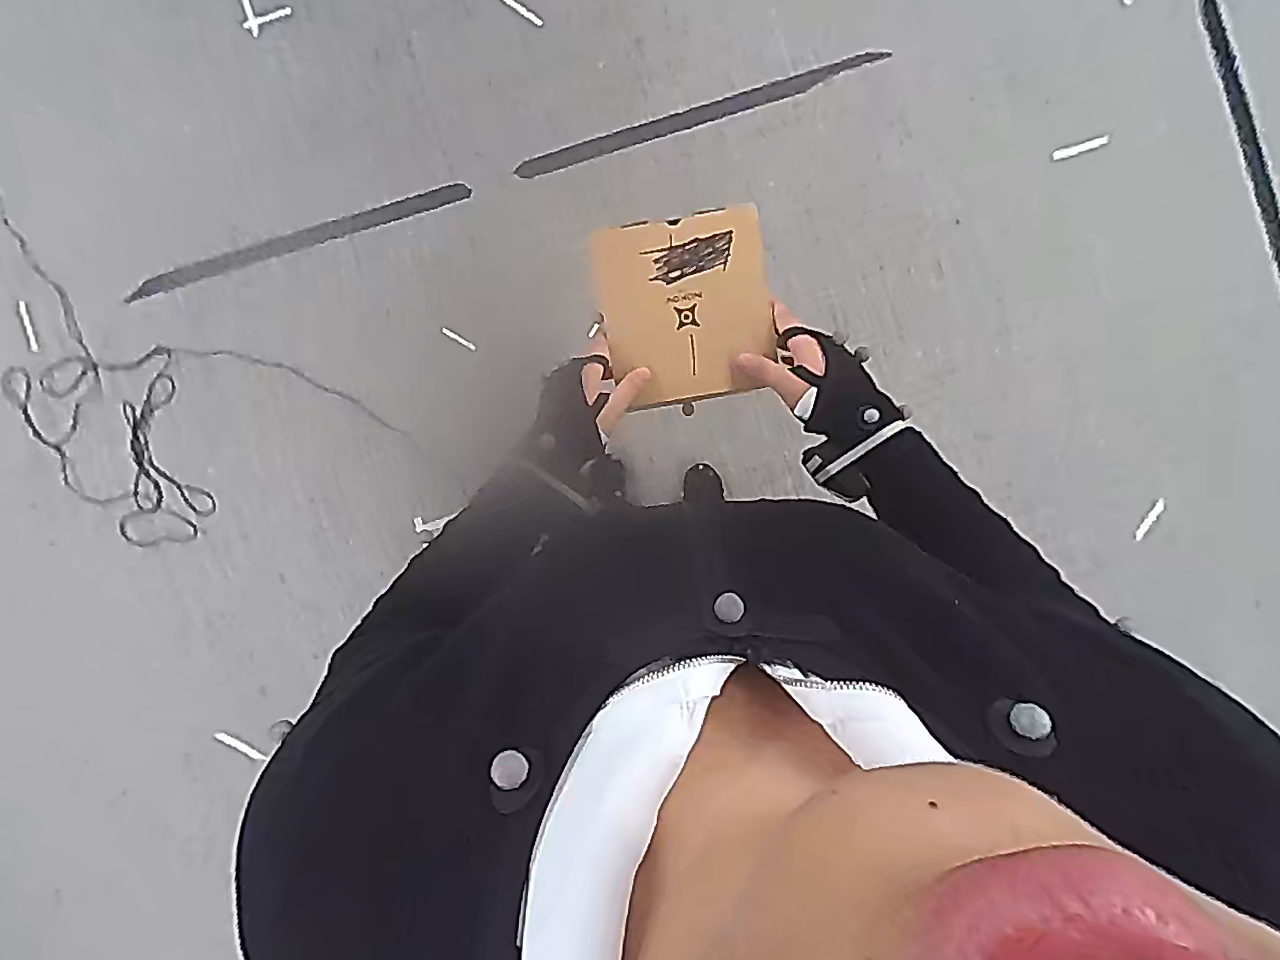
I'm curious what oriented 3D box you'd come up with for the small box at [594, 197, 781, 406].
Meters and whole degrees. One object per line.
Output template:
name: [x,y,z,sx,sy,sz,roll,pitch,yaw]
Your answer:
small box: [0.049,-0.184,0.609,0.168,0.176,0.179,-9,96,3]
